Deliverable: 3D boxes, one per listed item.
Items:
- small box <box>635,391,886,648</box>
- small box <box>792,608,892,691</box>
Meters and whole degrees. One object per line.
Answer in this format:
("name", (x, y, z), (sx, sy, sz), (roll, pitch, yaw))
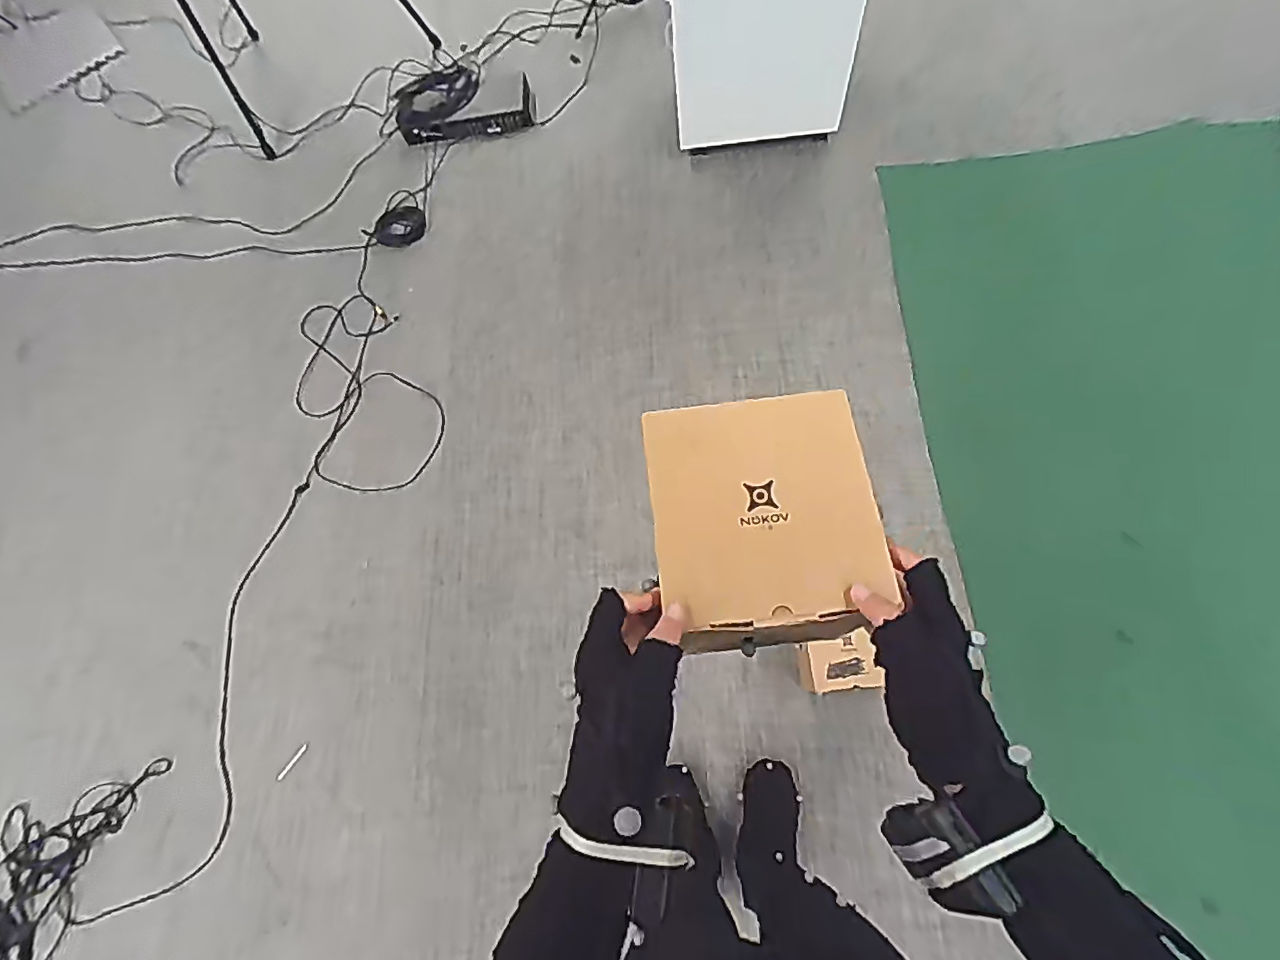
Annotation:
("small box", (0.087, 0.045, 0.479), (0.168, 0.176, 0.179), (-7, 68, 2))
("small box", (0.437, 0.368, 1.202), (0.168, 0.176, 0.179), (-6, 70, 5))
